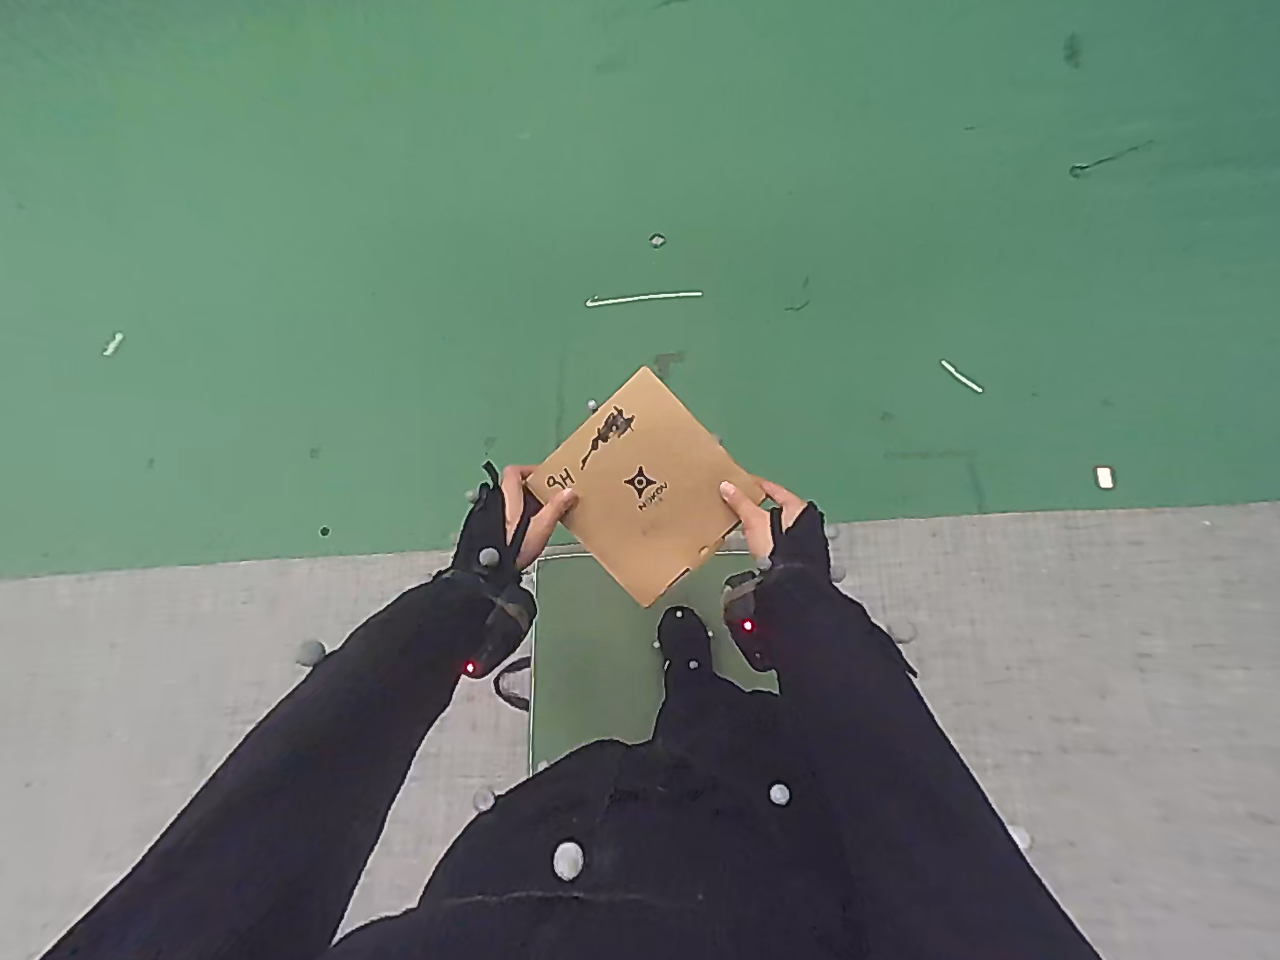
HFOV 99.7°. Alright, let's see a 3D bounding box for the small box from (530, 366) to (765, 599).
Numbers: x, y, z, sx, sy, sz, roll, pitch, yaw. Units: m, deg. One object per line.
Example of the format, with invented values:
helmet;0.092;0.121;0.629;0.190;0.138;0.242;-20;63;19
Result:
small box;0.009;-0.003;0.609;0.168;0.176;0.179;-43;93;3
